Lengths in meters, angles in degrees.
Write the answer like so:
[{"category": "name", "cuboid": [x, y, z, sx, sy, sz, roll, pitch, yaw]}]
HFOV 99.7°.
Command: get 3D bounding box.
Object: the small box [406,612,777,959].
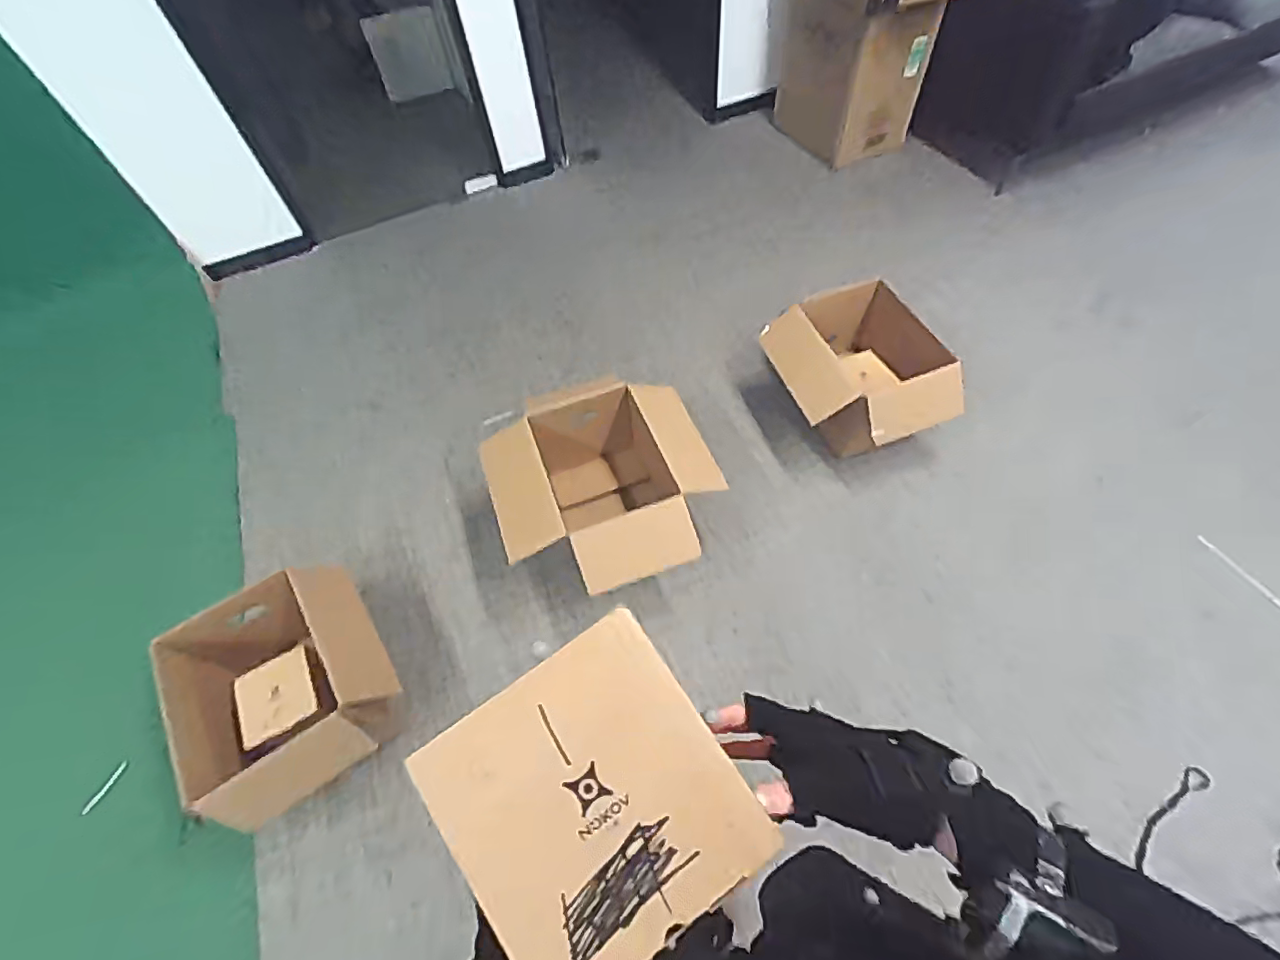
[{"category": "small box", "cuboid": [-0.033, 0.216, 0.403, 0.168, 0.176, 0.179, -32, 78, -11]}]
